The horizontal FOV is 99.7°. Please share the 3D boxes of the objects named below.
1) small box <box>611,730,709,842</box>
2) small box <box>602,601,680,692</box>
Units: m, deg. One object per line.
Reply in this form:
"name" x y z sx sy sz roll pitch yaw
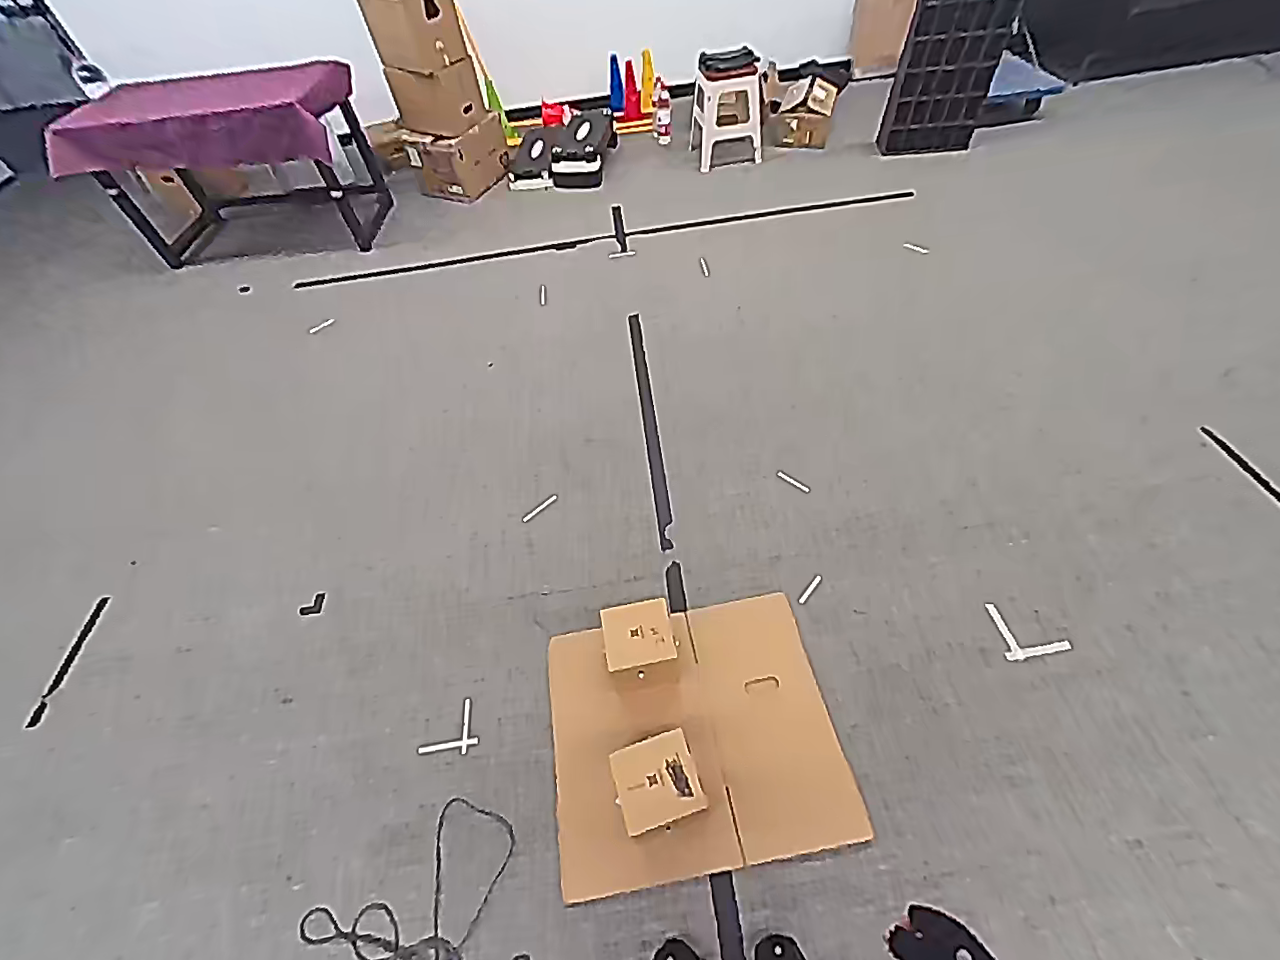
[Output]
"small box" 0.046 0.695 1.223 0.179 0.176 0.168 -17 52 -7
"small box" 0.004 0.443 1.428 0.179 0.176 0.168 -10 51 -2
